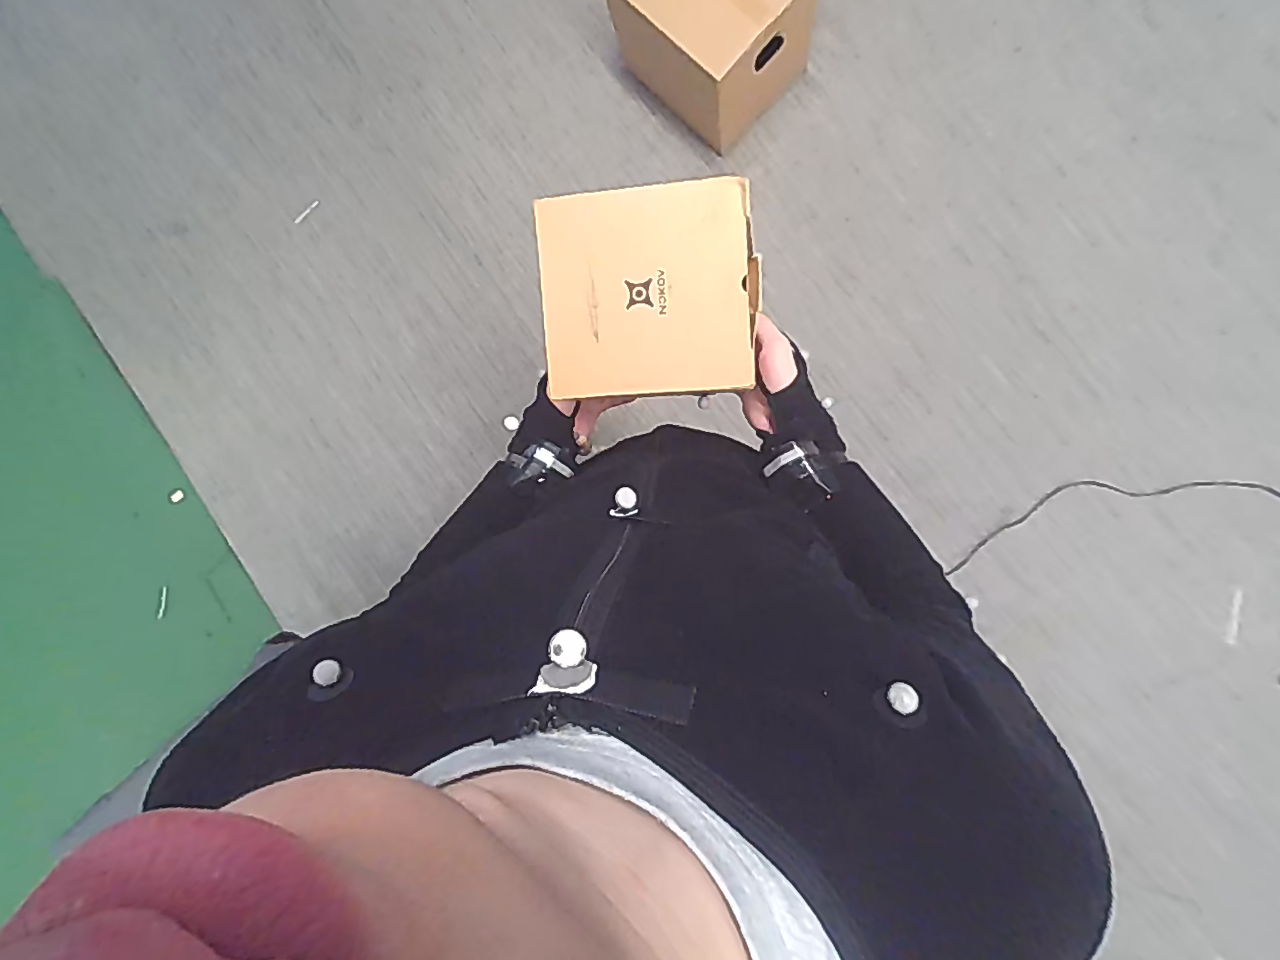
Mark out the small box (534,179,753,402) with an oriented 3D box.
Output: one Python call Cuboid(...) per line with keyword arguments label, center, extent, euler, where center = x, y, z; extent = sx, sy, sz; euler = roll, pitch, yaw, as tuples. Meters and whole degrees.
Cuboid(label="small box", center=(0.013, -0.164, 0.524), extent=(0.179, 0.176, 0.168), euler=(-3, 97, 9))
